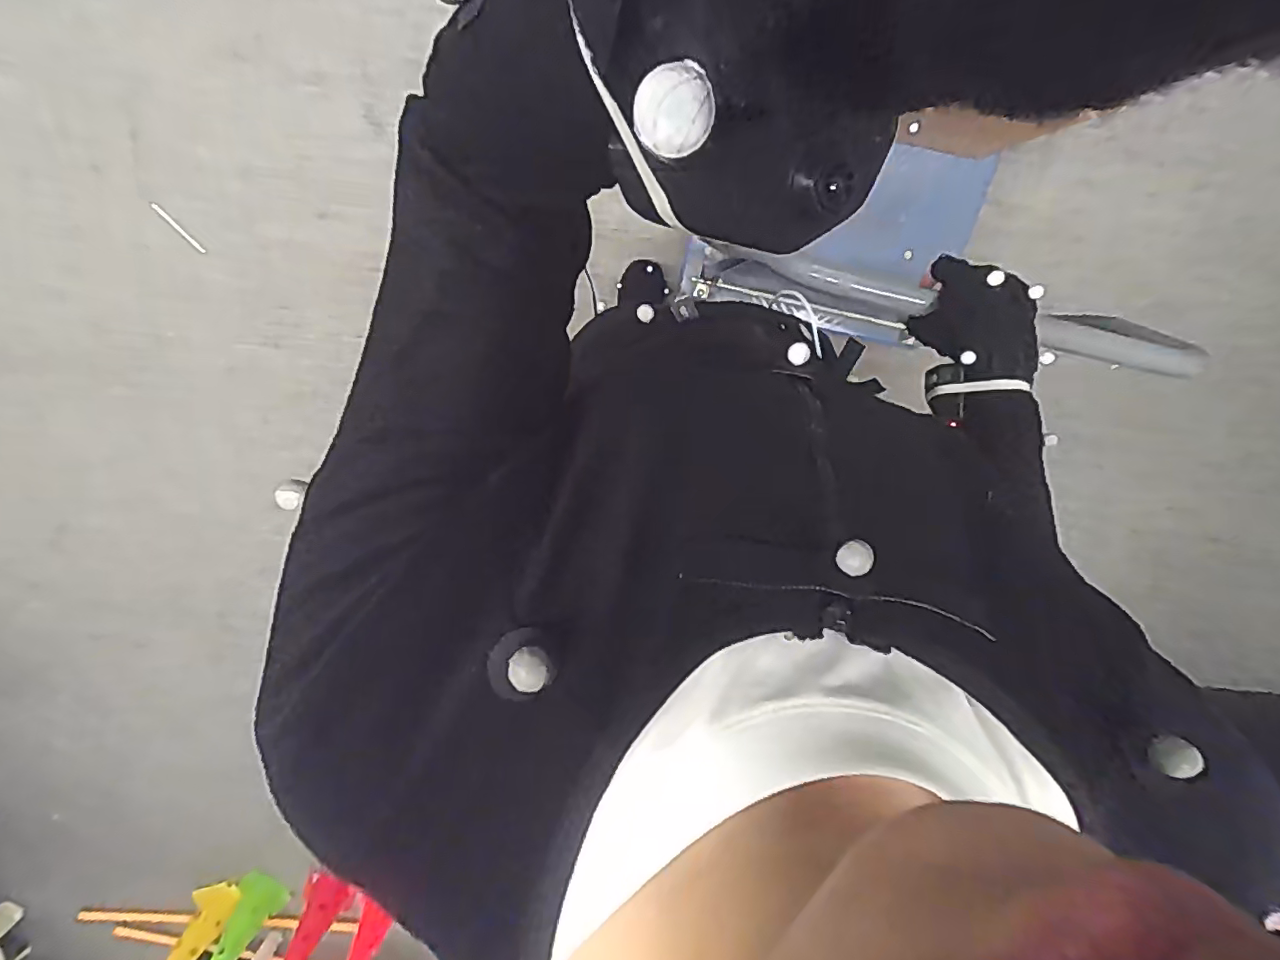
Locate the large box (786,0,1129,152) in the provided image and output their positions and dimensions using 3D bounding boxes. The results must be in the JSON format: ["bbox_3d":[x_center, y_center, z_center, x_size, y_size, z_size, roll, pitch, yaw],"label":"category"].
[{"bbox_3d":[0.505,-0.772,0.893,0.408,0.320,0.320,9,110,-2],"label":"large box"}]
